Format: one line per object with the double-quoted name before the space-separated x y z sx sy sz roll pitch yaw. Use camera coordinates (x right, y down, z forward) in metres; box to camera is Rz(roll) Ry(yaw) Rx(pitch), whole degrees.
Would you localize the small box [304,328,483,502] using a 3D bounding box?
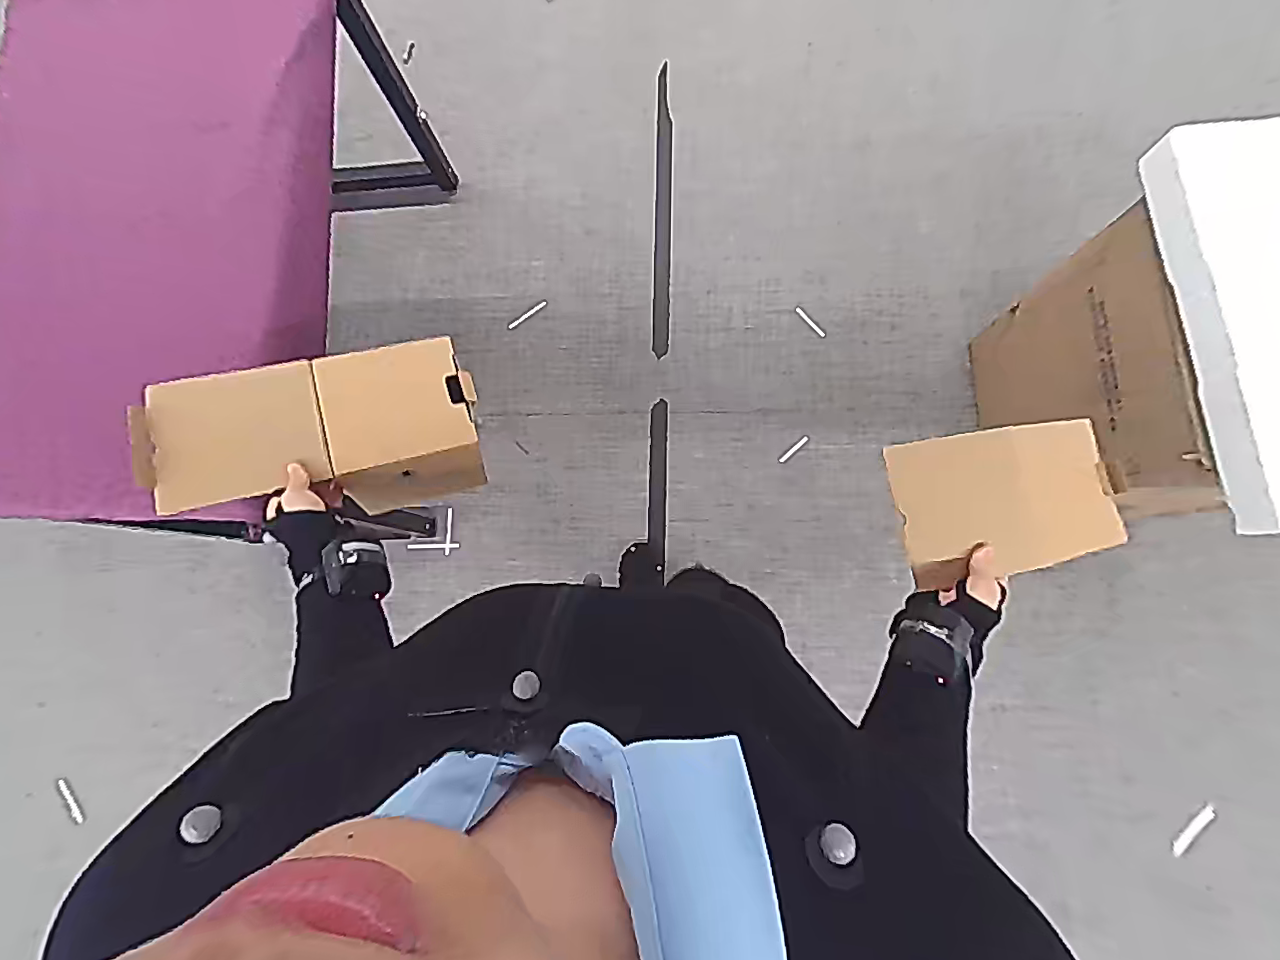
"small box" -0.327 -0.081 0.747 0.179 0.176 0.168 -15 77 -17
